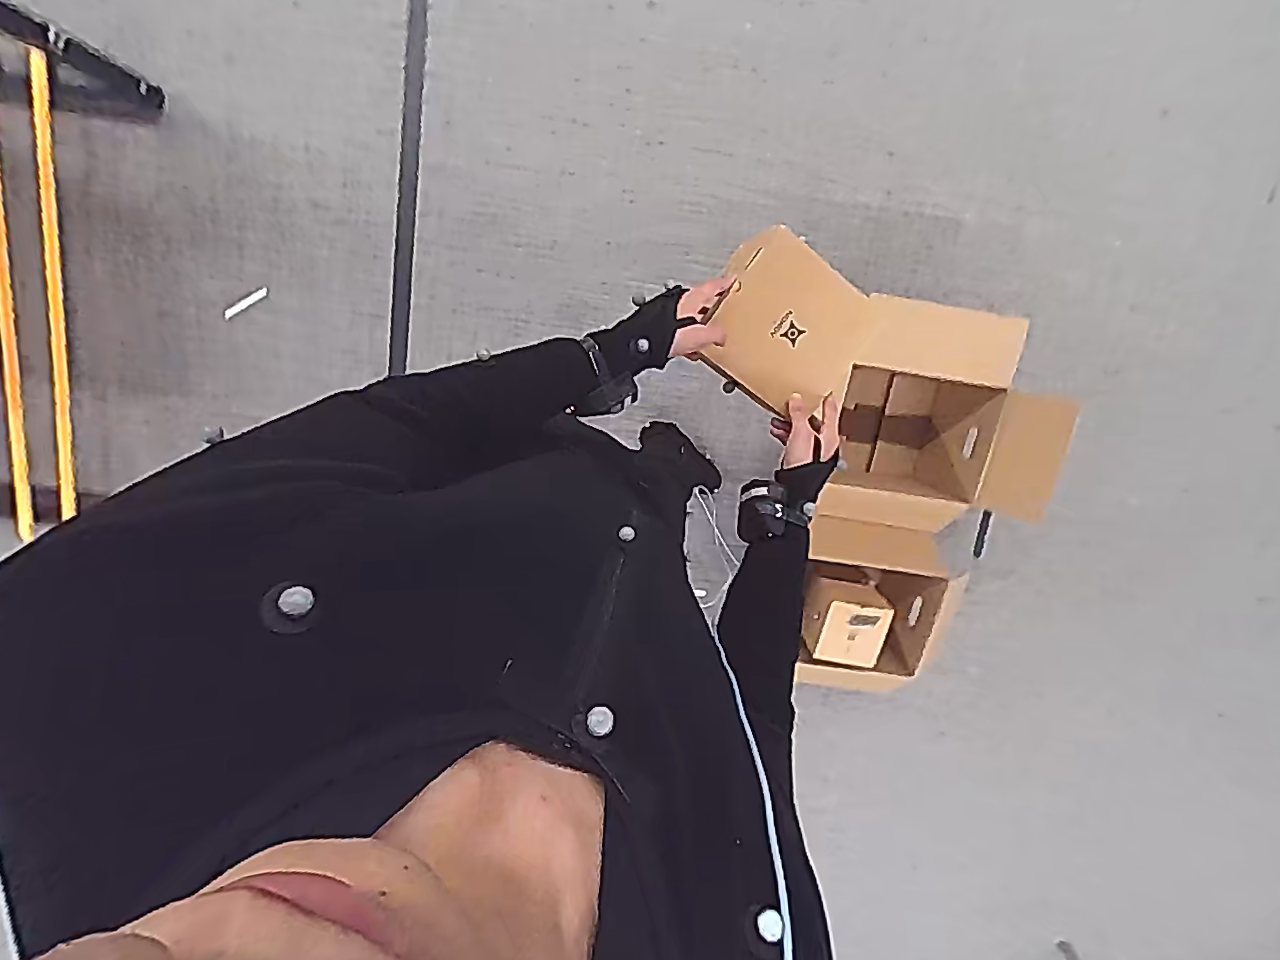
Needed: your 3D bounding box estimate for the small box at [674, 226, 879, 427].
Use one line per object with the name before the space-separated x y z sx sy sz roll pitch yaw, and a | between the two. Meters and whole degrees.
small box | 0.162 -0.197 0.705 0.179 0.176 0.168 34 103 -11
